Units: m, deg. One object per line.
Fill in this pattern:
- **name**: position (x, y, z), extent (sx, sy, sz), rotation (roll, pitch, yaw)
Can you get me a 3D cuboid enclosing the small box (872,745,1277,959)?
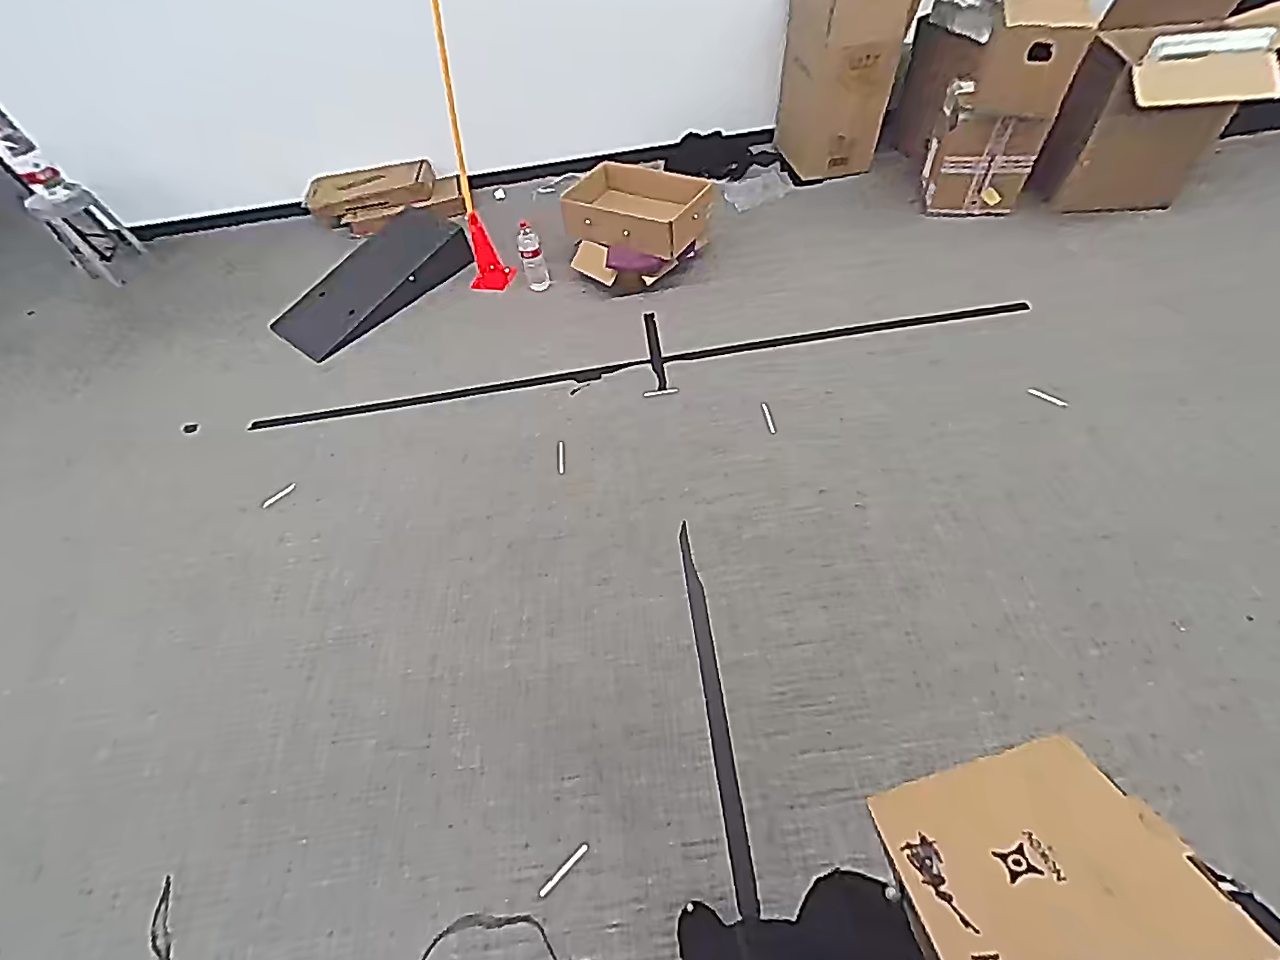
- **small box**: position (0.311, 0.349, 0.412), extent (0.179, 0.176, 0.168), rotation (-22, 17, 6)
